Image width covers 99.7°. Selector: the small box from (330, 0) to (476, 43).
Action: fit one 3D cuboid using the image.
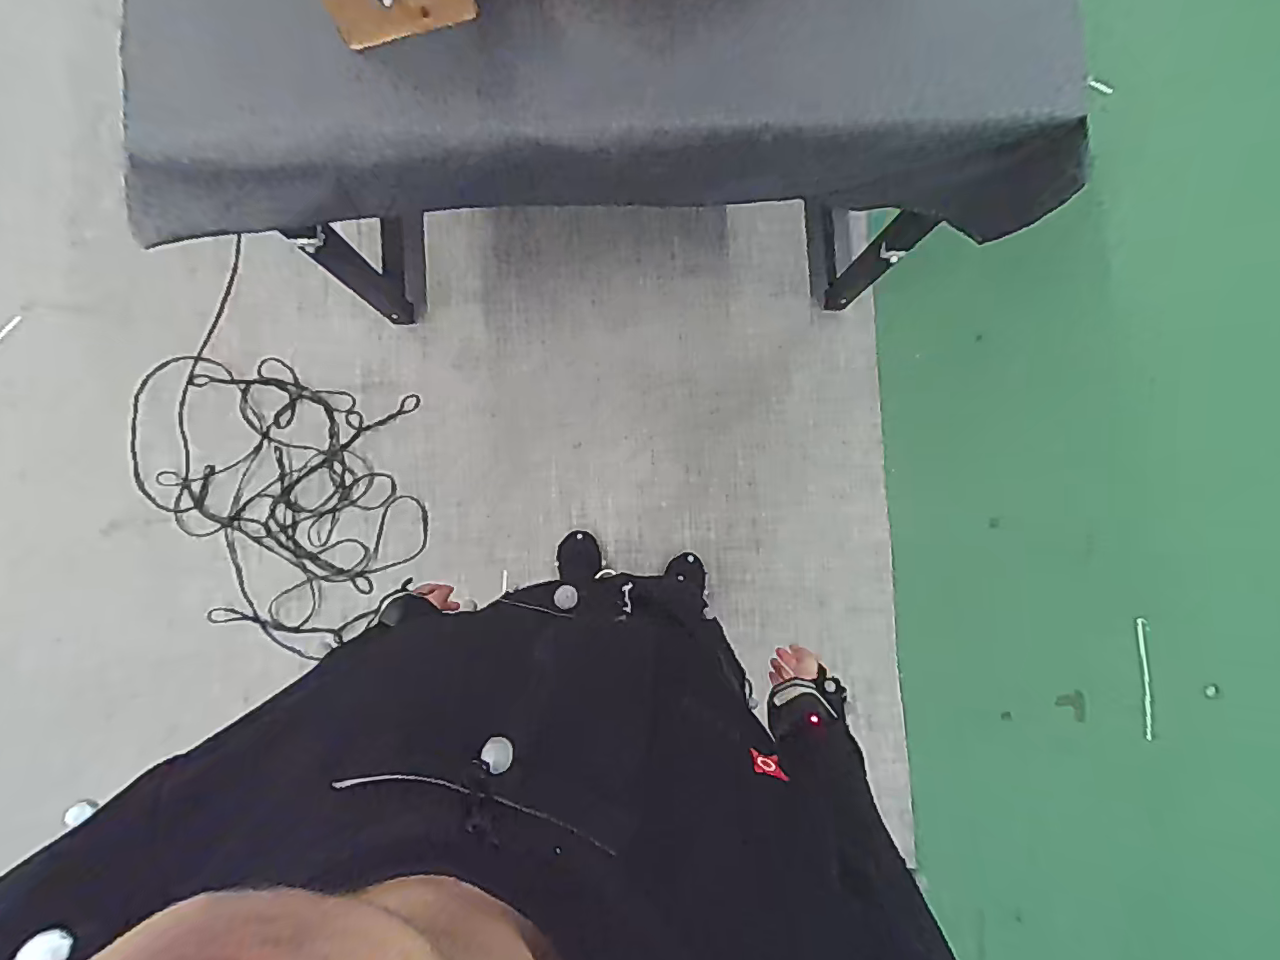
[{"bbox_3d":[-0.299,-0.642,0.593,0.168,0.176,0.179,-18,88,-4],"label":"small box"}]
